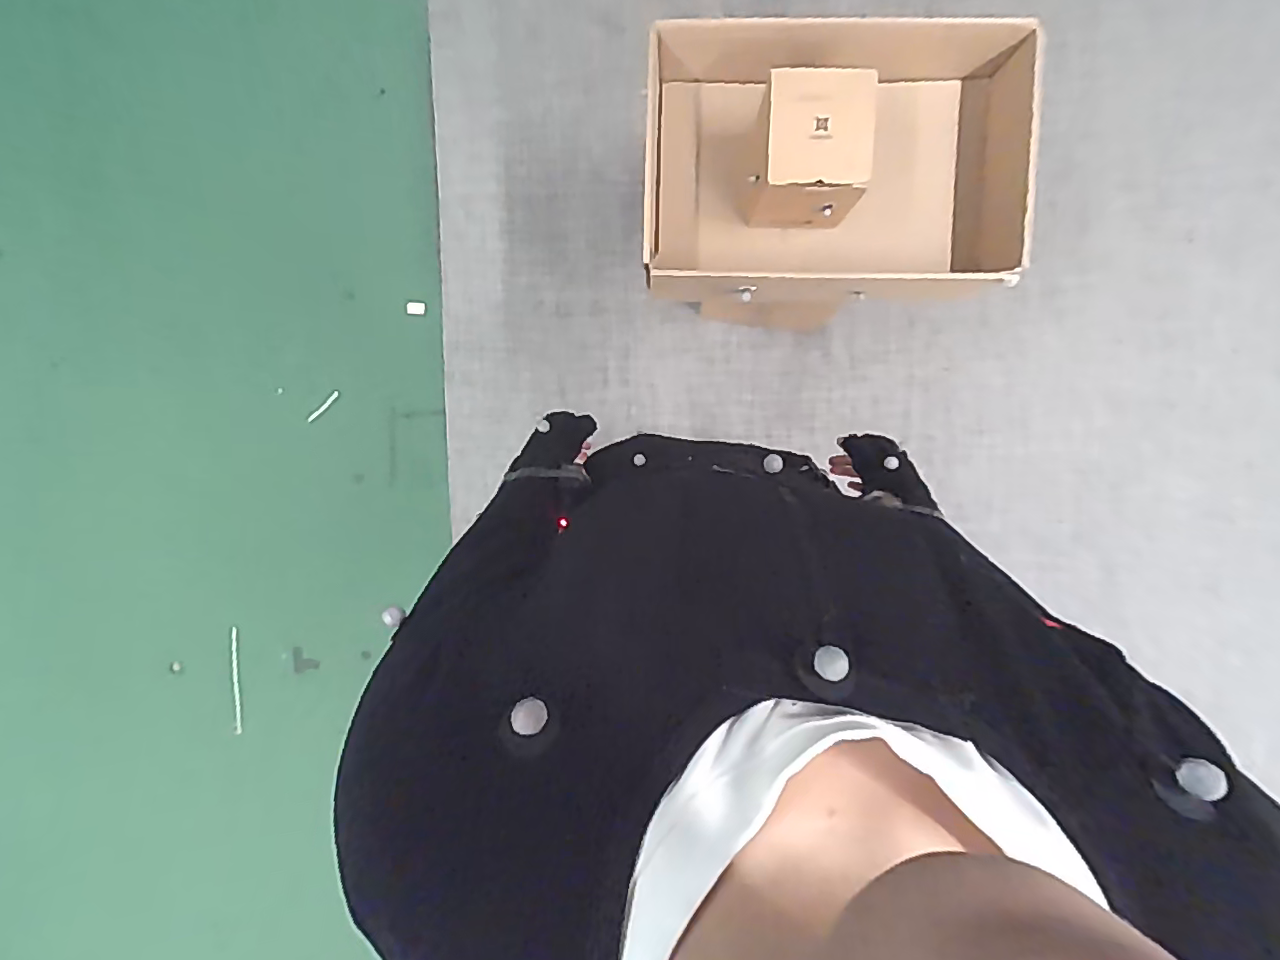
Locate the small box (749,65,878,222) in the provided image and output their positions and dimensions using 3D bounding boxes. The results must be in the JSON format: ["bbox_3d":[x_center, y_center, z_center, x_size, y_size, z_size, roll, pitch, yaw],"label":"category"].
[{"bbox_3d":[0.283,-0.556,0.916,0.168,0.176,0.179,1,93,0],"label":"small box"}]
